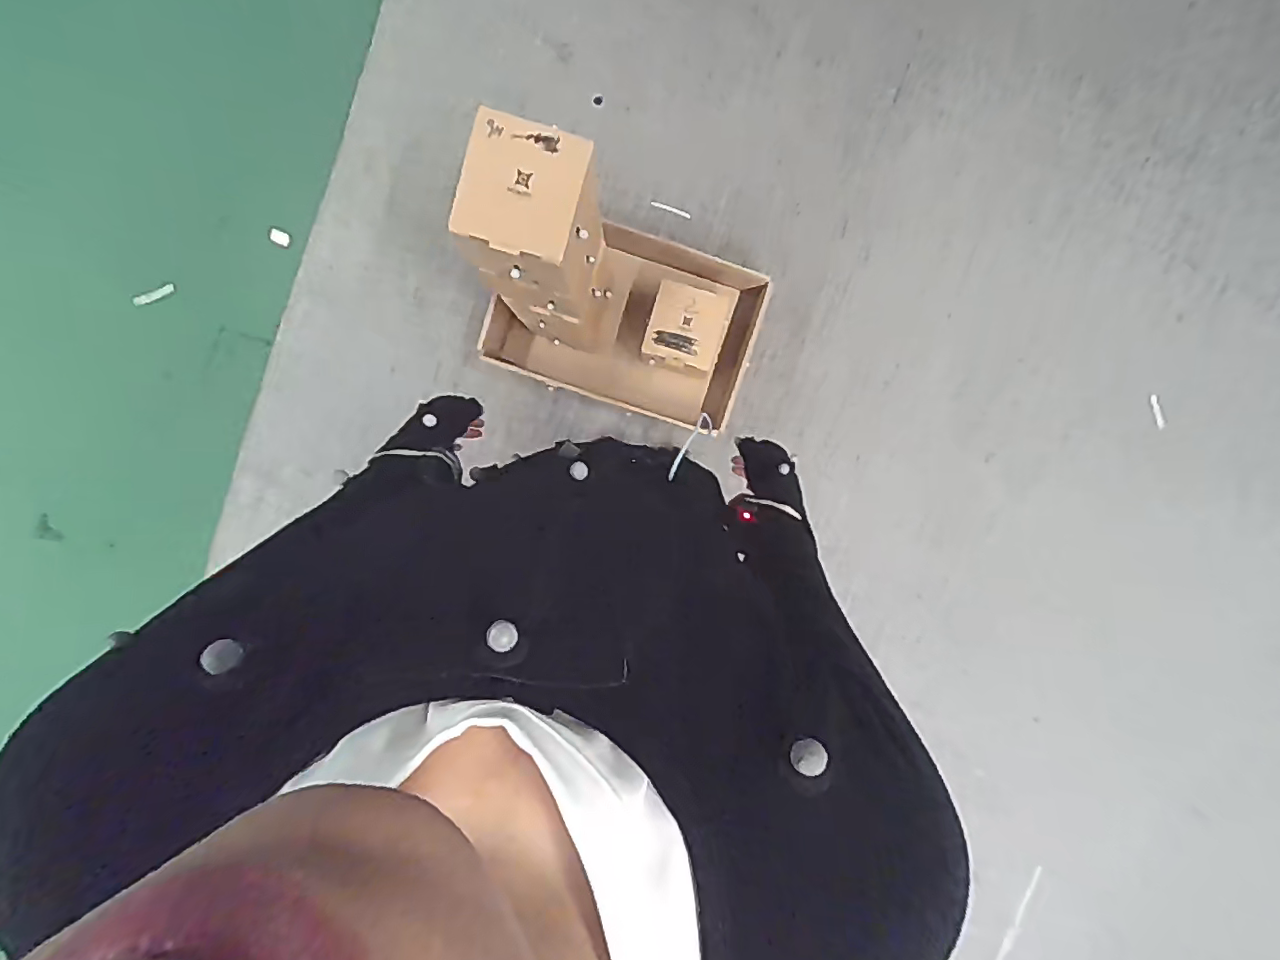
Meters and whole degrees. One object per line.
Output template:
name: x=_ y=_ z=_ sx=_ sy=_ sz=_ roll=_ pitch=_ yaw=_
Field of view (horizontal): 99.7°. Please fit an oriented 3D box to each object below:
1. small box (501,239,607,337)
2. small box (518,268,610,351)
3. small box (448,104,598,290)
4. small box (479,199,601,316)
small box: x=-0.174 y=-0.423 z=1.145 sx=0.168 sy=0.176 sz=0.179 roll=19 pitch=94 yaw=-3
small box: x=-0.178 y=-0.433 z=1.307 sx=0.168 sy=0.176 sz=0.179 roll=20 pitch=94 yaw=-2
small box: x=-0.165 y=-0.408 z=0.818 sx=0.168 sy=0.176 sz=0.179 roll=17 pitch=95 yaw=-4
small box: x=-0.170 y=-0.417 z=0.981 sx=0.168 sy=0.176 sz=0.179 roll=17 pitch=93 yaw=-3
